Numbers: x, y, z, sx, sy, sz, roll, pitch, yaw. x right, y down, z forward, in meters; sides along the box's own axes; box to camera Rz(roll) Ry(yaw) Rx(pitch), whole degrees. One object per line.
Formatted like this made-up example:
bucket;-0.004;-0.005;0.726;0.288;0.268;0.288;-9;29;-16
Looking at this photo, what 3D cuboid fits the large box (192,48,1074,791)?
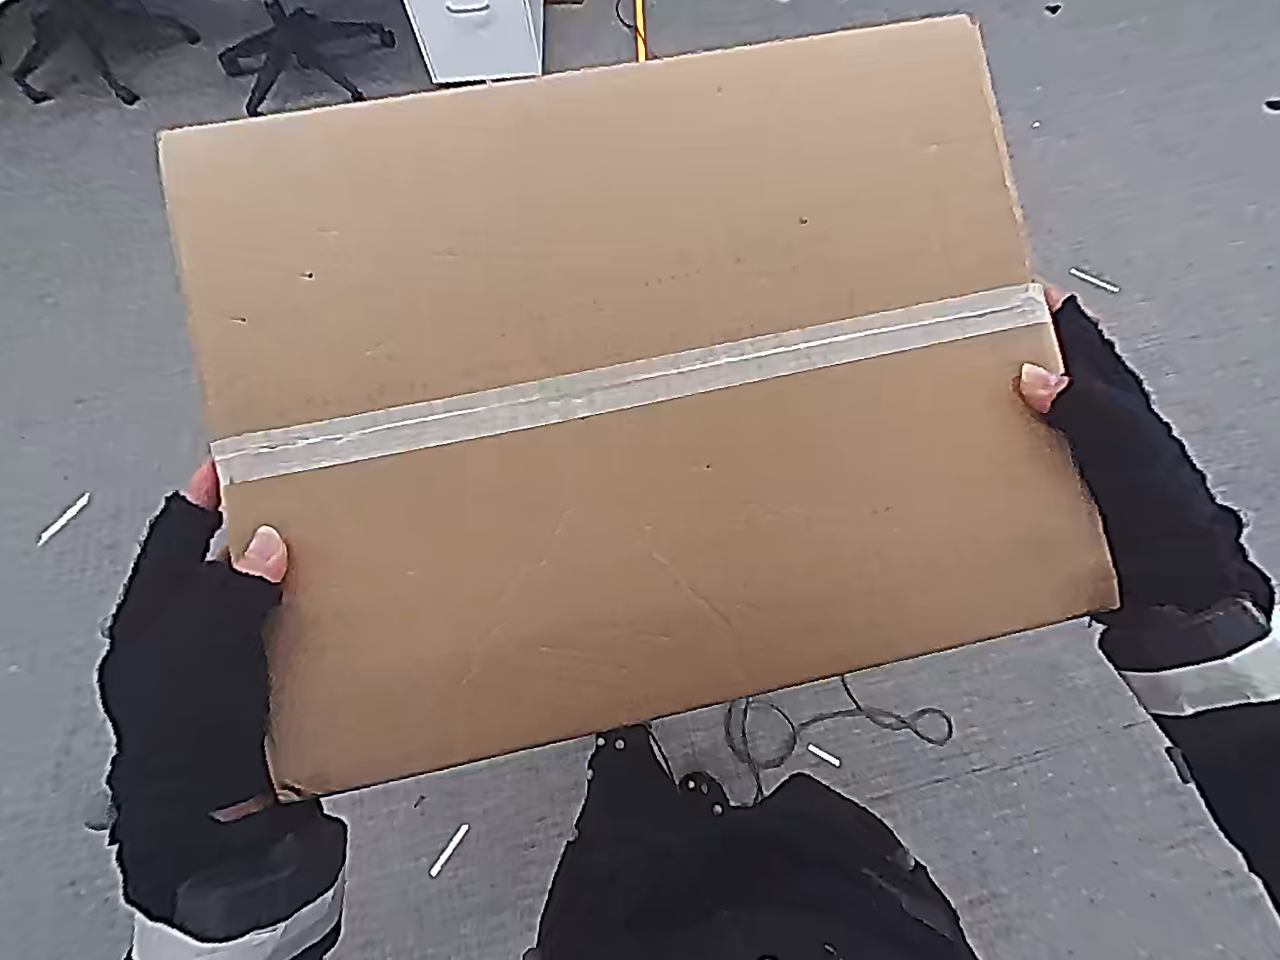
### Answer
large box;-0.004;-0.037;0.420;0.408;0.320;0.320;-12;87;-4
